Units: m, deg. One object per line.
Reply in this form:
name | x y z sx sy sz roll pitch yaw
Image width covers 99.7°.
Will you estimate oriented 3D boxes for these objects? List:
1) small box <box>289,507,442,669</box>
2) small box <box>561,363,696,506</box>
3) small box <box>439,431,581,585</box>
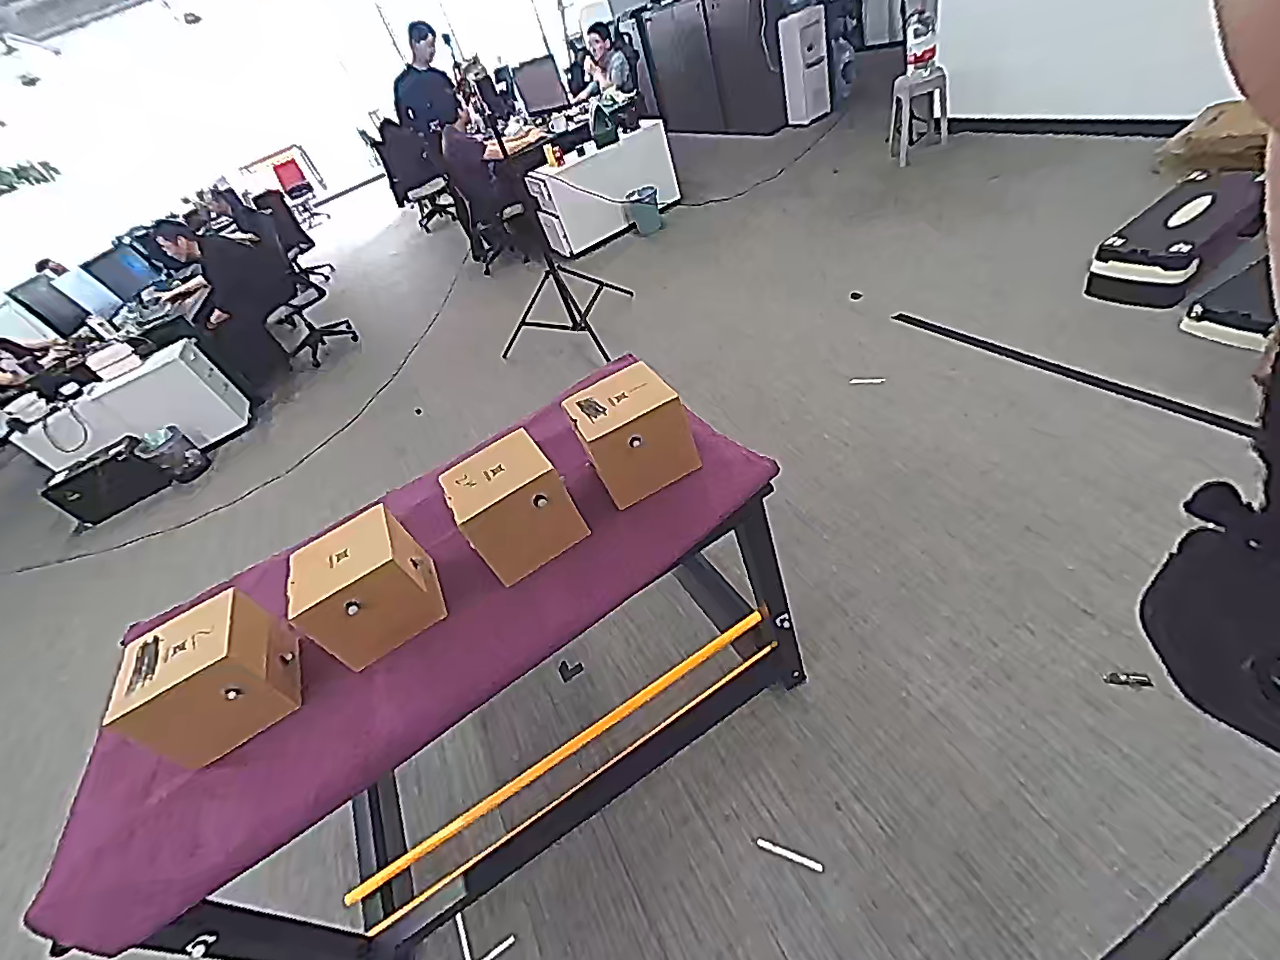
small box | -0.463 0.186 0.931 0.179 0.176 0.168 -32 41 -10
small box | -0.019 -0.082 1.003 0.179 0.176 0.168 -29 40 -6
small box | -0.222 0.048 0.960 0.179 0.176 0.168 -33 39 -10
